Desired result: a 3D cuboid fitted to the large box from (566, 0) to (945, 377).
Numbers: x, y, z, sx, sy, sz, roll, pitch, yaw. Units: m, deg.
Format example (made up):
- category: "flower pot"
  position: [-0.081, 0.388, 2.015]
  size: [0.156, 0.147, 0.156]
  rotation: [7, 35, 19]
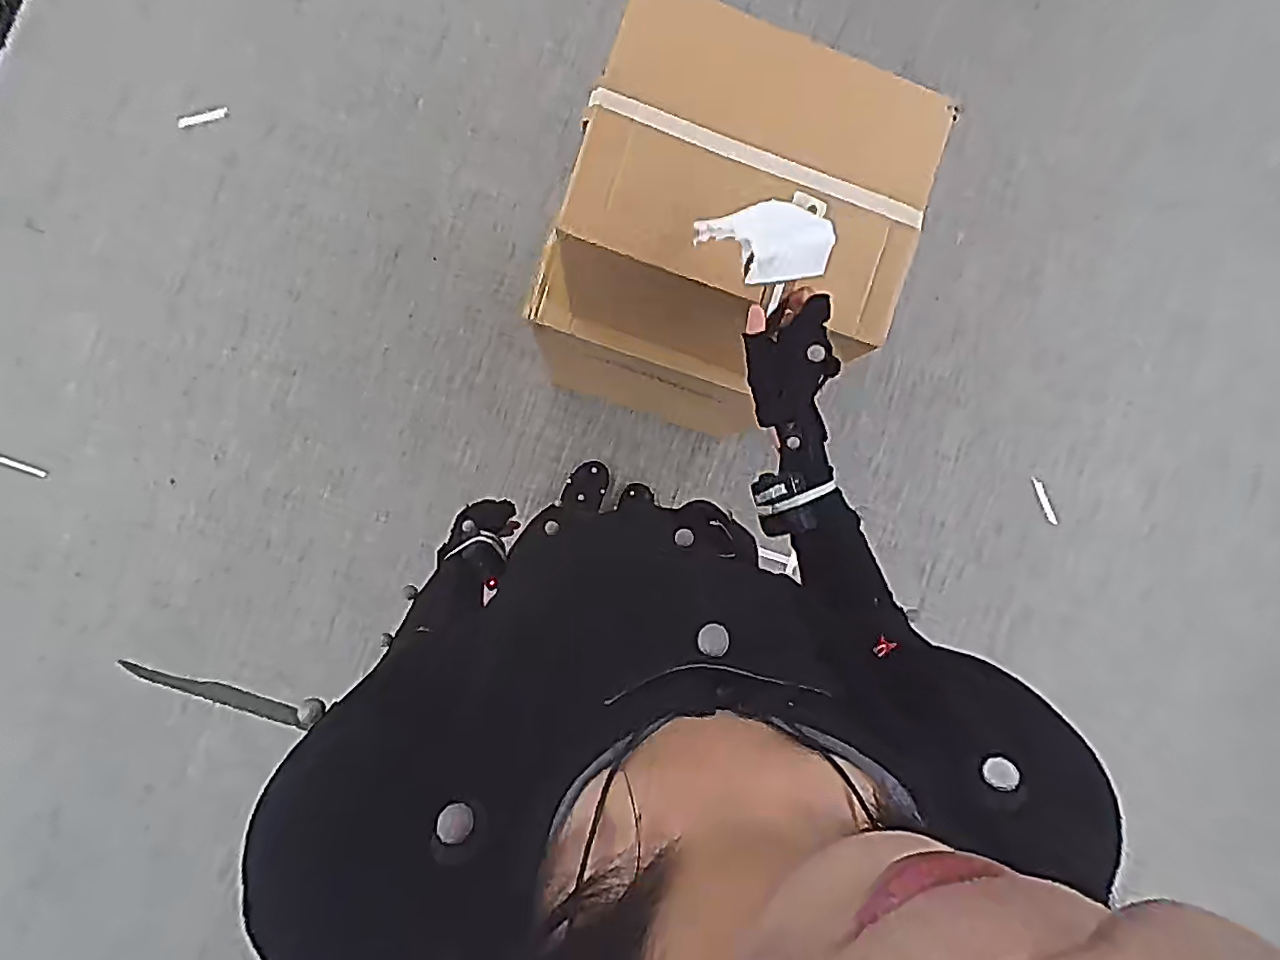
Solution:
- category: "large box"
  position: [0.128, -0.379, 0.787]
  size: [0.408, 0.320, 0.320]
  rotation: [18, 89, -6]
